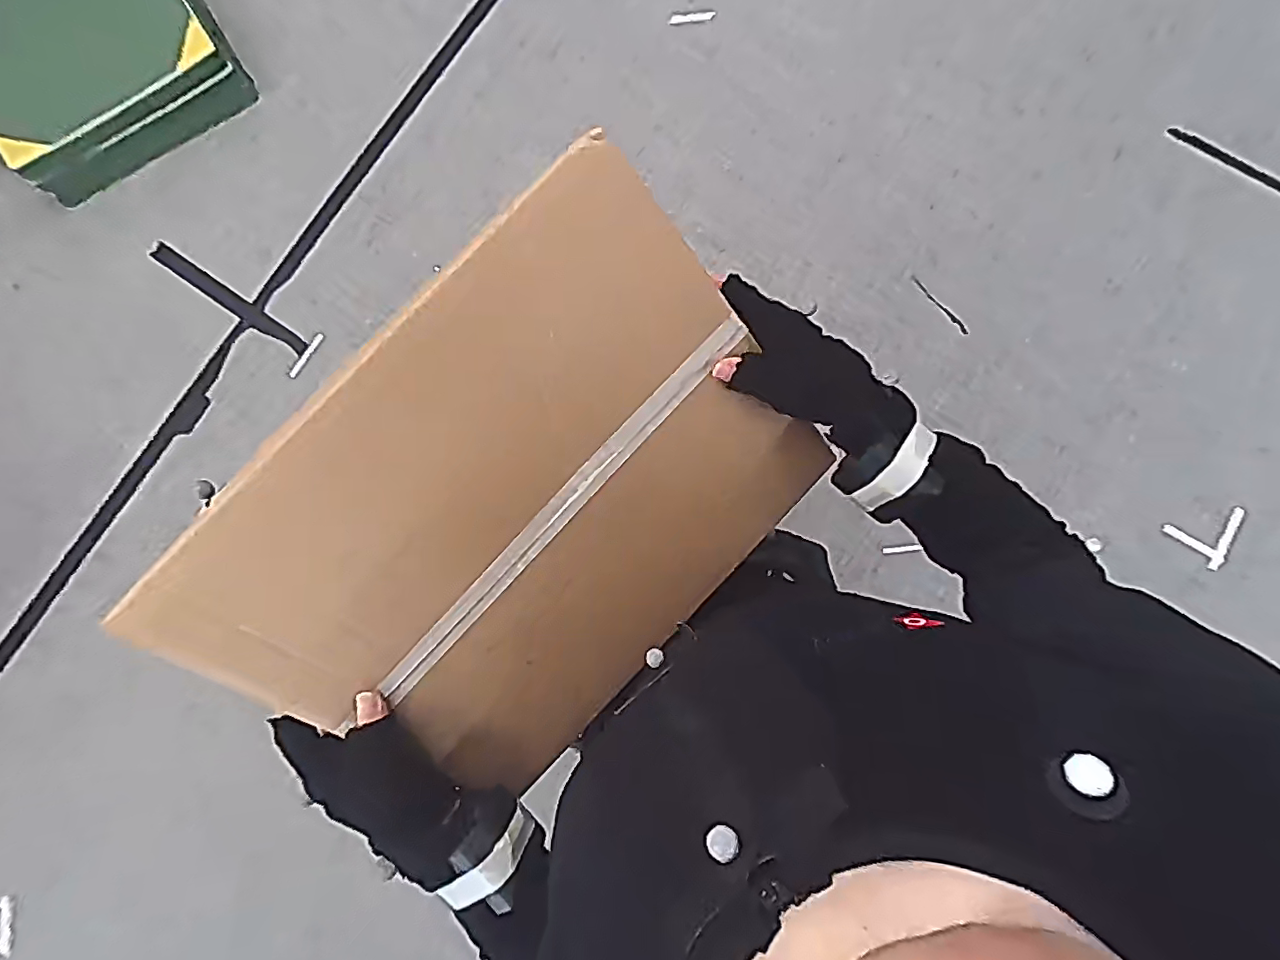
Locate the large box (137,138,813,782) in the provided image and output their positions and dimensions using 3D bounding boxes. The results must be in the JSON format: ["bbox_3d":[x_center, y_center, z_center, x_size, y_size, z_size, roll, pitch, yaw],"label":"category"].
[{"bbox_3d":[-0.129,-0.020,0.529,0.408,0.320,0.320,-46,119,-2],"label":"large box"}]
